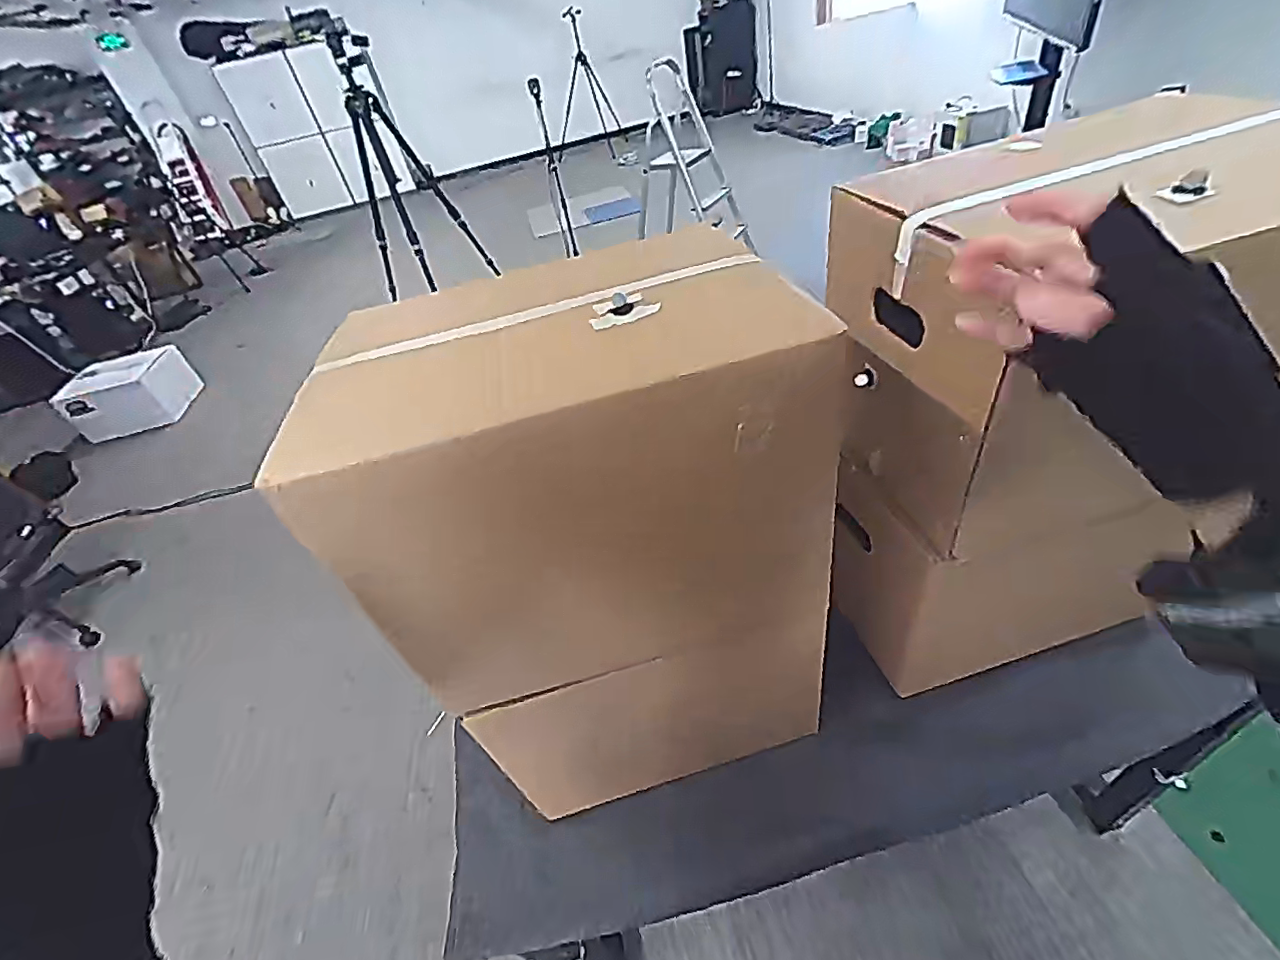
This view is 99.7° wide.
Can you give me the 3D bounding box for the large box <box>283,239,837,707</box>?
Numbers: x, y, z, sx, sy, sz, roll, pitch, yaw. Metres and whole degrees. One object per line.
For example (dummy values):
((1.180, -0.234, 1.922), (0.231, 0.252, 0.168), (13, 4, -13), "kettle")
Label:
((-0.057, -0.021, 0.578), (0.408, 0.320, 0.320), (-14, 40, -4), "large box")
